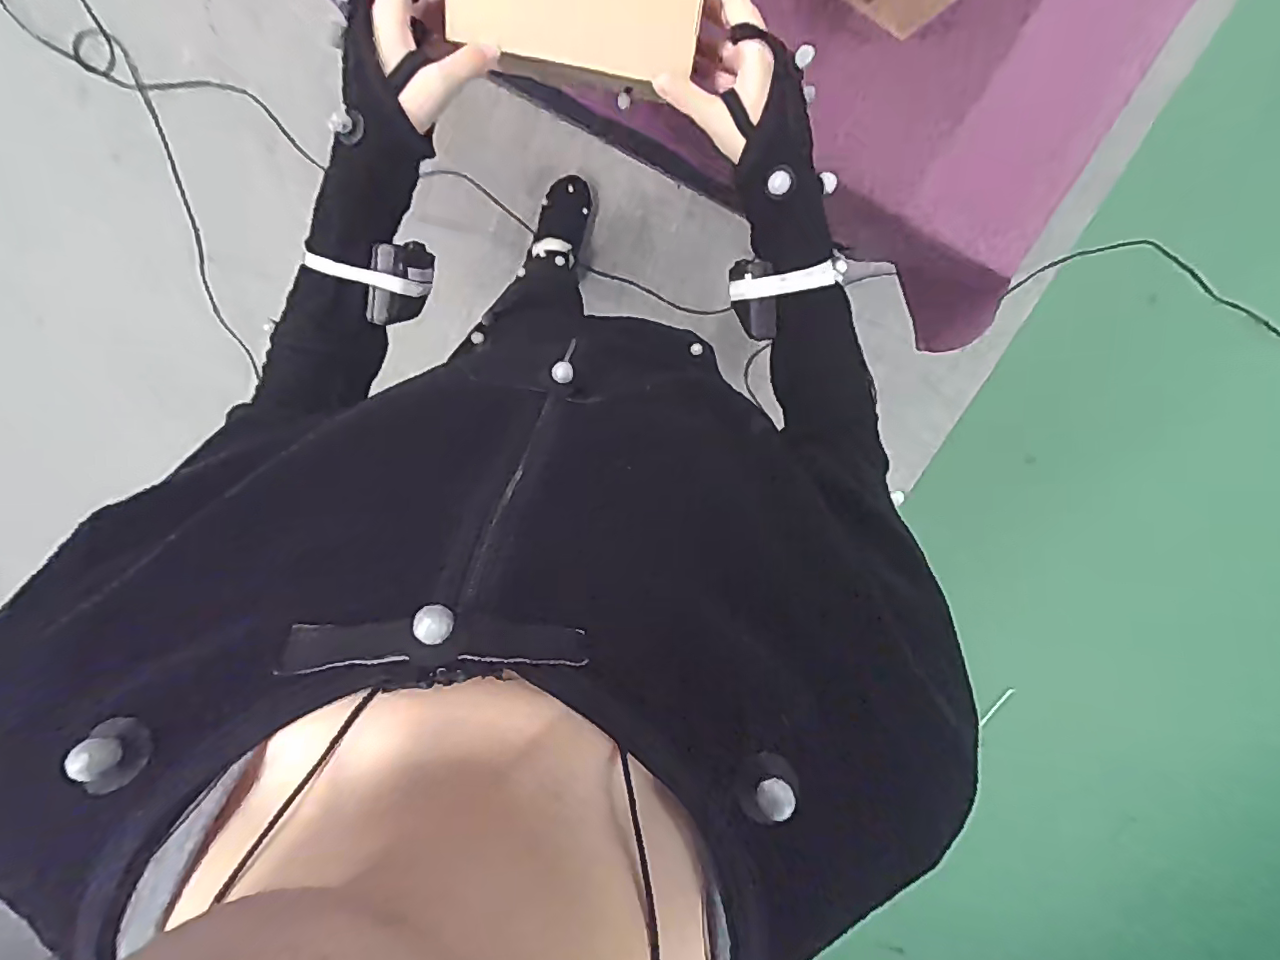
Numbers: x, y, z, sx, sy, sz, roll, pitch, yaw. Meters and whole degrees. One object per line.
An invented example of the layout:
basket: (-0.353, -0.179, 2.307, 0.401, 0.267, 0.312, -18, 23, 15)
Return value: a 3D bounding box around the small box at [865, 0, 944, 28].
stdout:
small box: (0.260, -0.556, 0.472, 0.168, 0.176, 0.179, 25, 108, -11)
